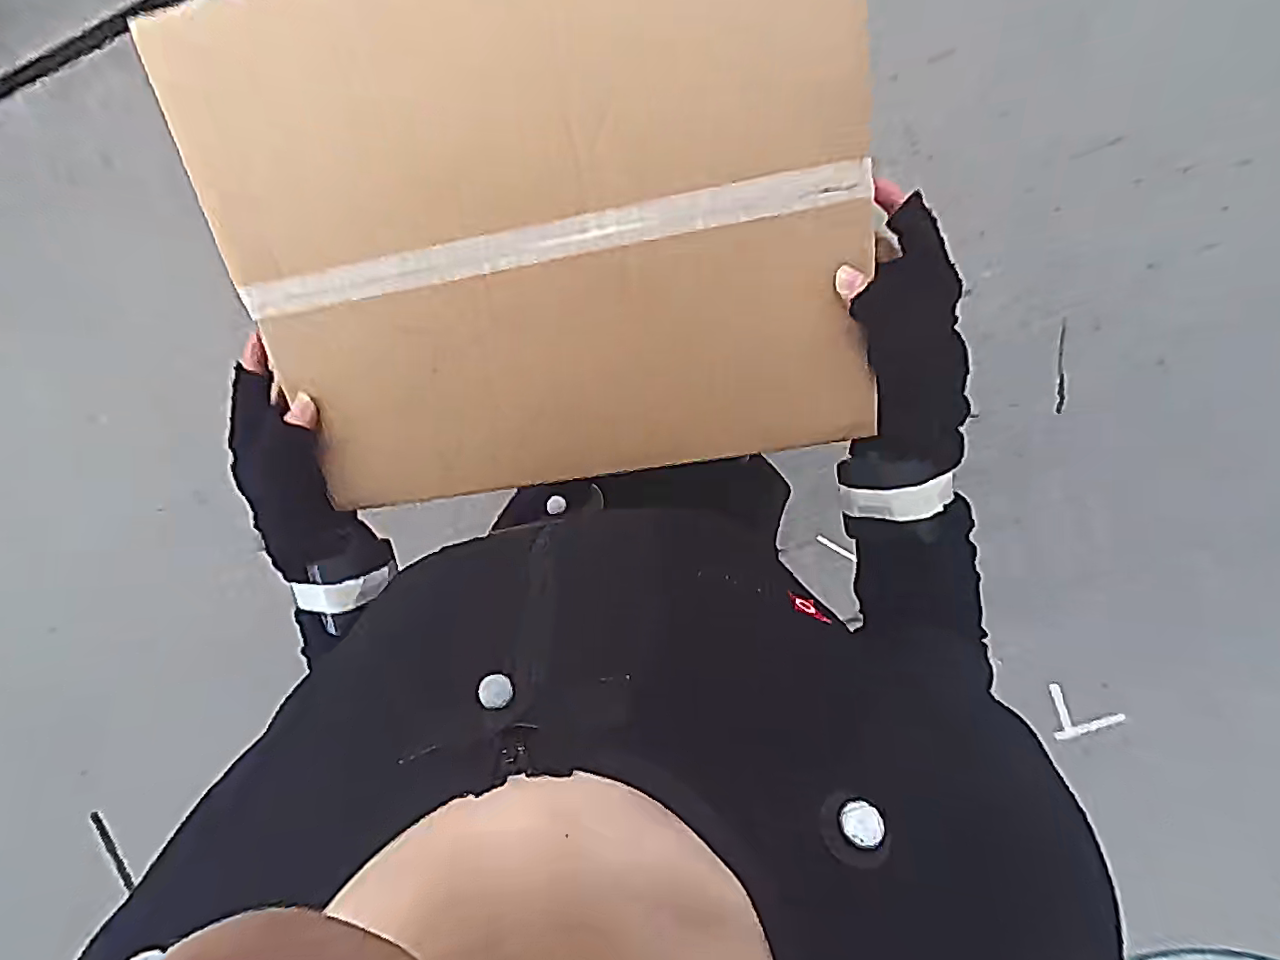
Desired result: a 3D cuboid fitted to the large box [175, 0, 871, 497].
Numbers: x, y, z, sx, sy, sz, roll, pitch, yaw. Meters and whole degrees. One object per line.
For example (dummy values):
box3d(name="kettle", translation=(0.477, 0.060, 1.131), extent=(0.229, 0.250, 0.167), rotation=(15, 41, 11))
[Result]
box3d(name="large box", translation=(-0.052, -0.208, 0.487), extent=(0.408, 0.320, 0.320), rotation=(-8, 112, 7))
